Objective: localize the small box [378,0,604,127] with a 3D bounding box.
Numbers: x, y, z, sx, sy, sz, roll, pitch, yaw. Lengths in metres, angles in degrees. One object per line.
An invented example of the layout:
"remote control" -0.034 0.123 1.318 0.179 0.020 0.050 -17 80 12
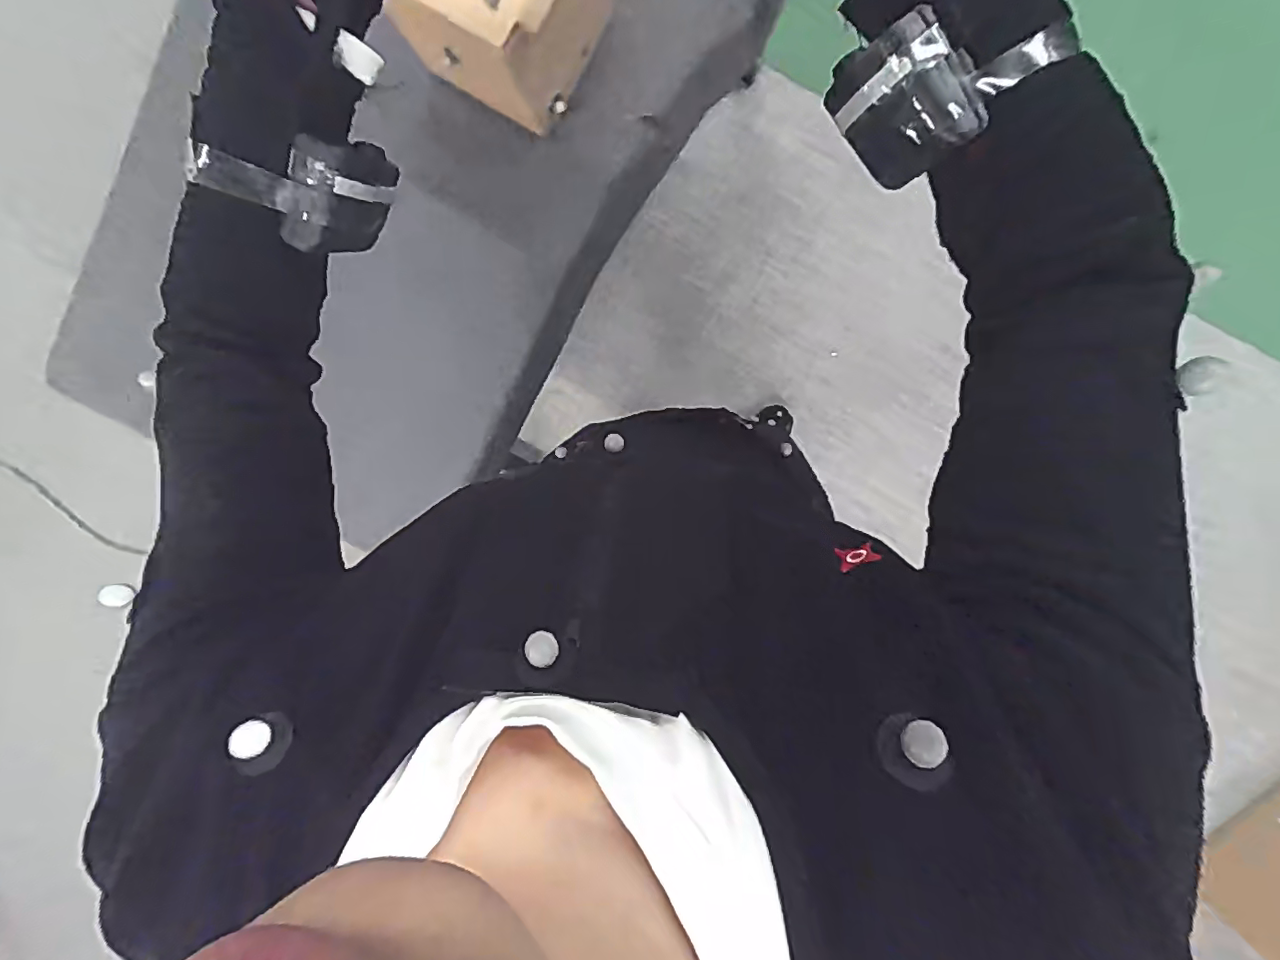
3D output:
"small box" -0.157 -0.531 0.591 0.179 0.176 0.168 31 98 1
